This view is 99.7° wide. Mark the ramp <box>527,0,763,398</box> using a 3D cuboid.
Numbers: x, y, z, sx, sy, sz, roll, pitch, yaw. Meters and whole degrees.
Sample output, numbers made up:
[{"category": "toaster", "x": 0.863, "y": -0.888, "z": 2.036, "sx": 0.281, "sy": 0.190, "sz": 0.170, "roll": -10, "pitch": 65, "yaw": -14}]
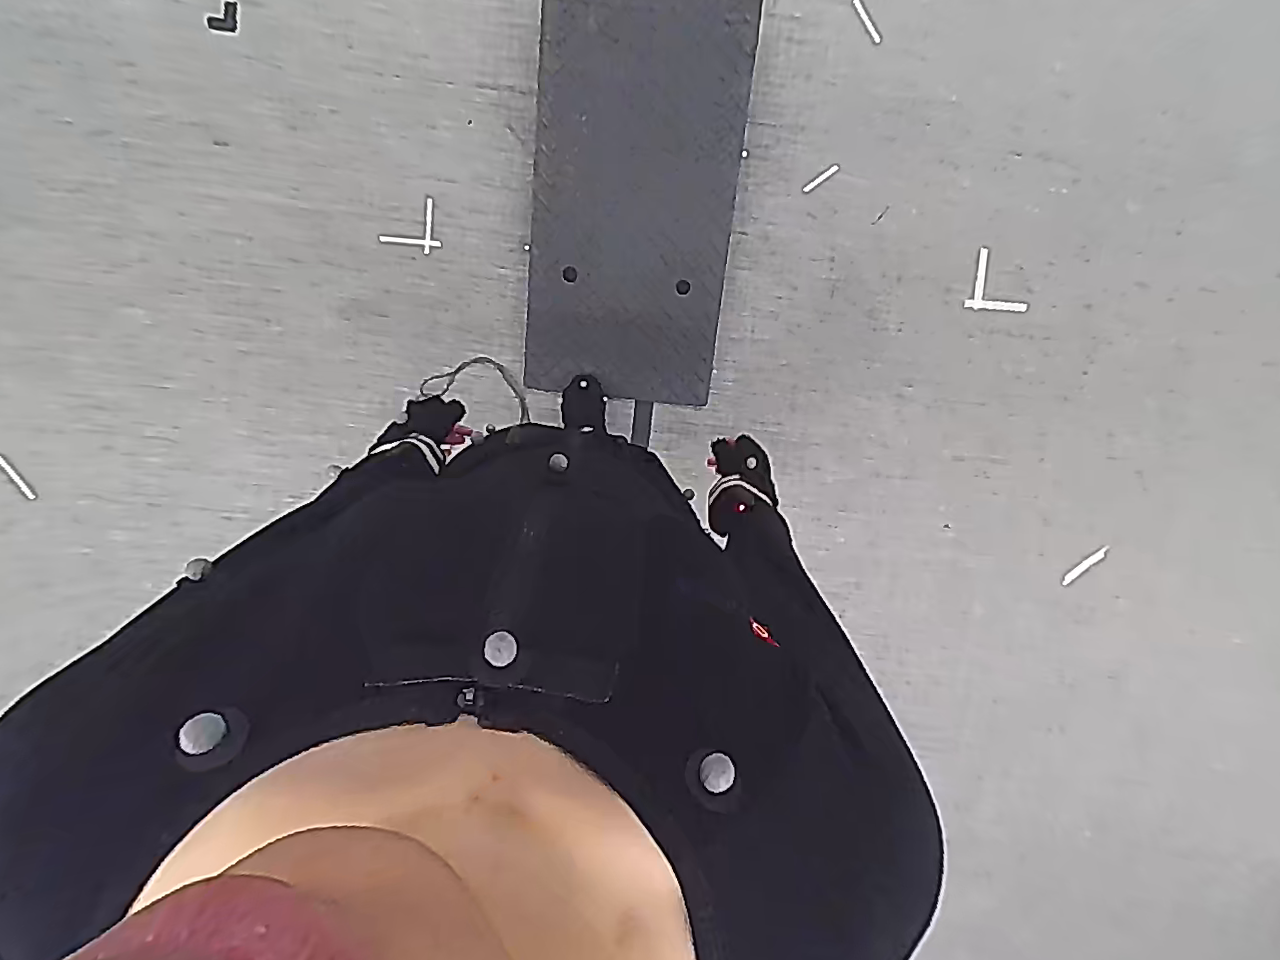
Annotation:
[{"category": "ramp", "x": -0.007, "y": -0.714, "z": 1.301, "sx": 0.509, "sy": 0.206, "sz": 0.991, "roll": 4, "pitch": 97, "yaw": -4}]
